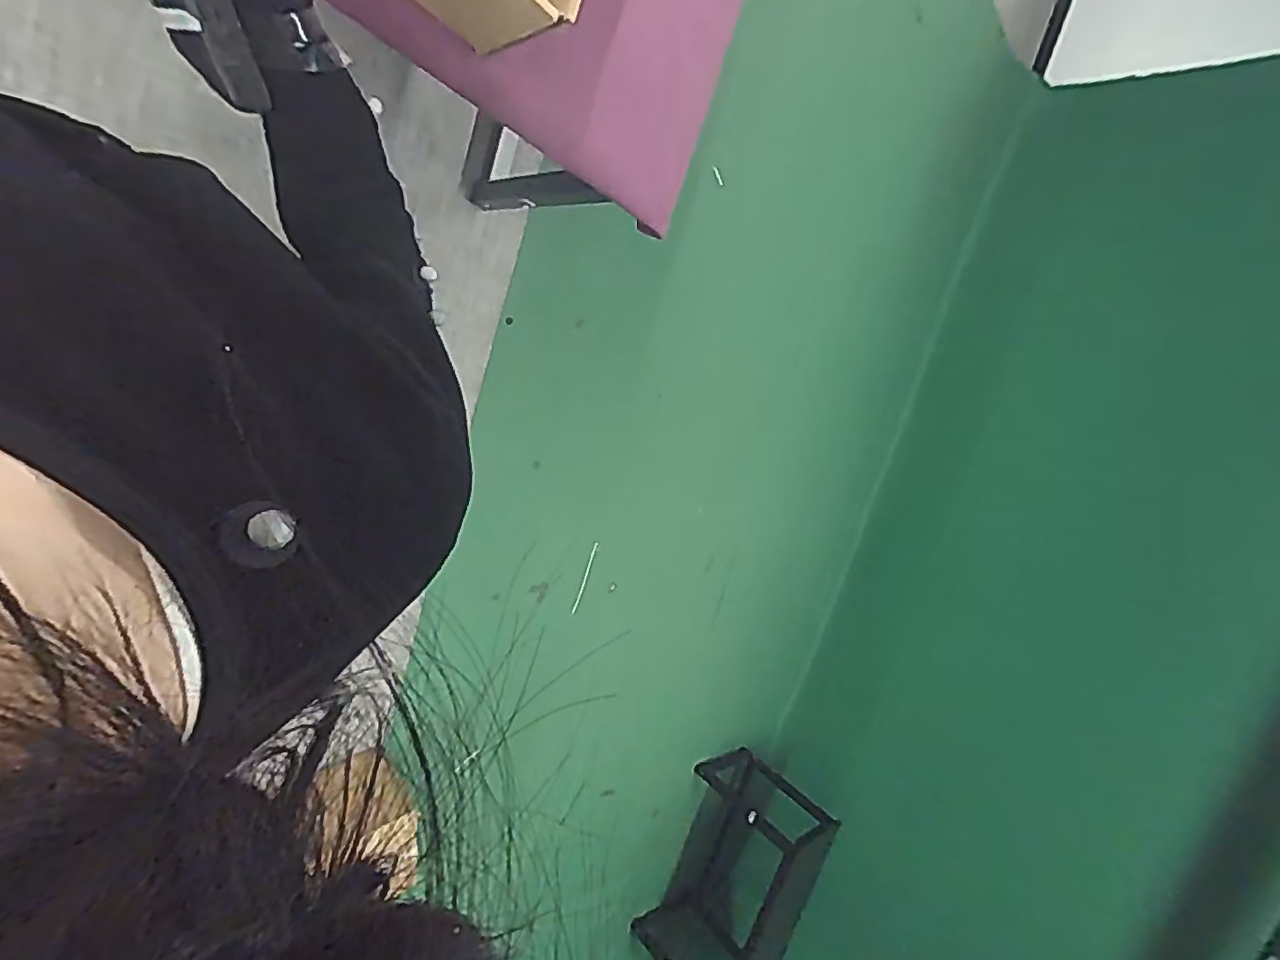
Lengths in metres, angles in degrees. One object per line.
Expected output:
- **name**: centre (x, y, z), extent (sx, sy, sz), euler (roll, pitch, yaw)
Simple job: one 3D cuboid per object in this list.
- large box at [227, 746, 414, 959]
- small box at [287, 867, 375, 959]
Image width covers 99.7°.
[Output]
- **large box**: centre (-0.929, 1.082, 1.591), extent (0.408, 0.320, 0.320), euler (-10, 115, -43)
- **small box**: centre (-0.796, 1.149, 1.393), extent (0.168, 0.176, 0.179), euler (-8, 113, -42)
